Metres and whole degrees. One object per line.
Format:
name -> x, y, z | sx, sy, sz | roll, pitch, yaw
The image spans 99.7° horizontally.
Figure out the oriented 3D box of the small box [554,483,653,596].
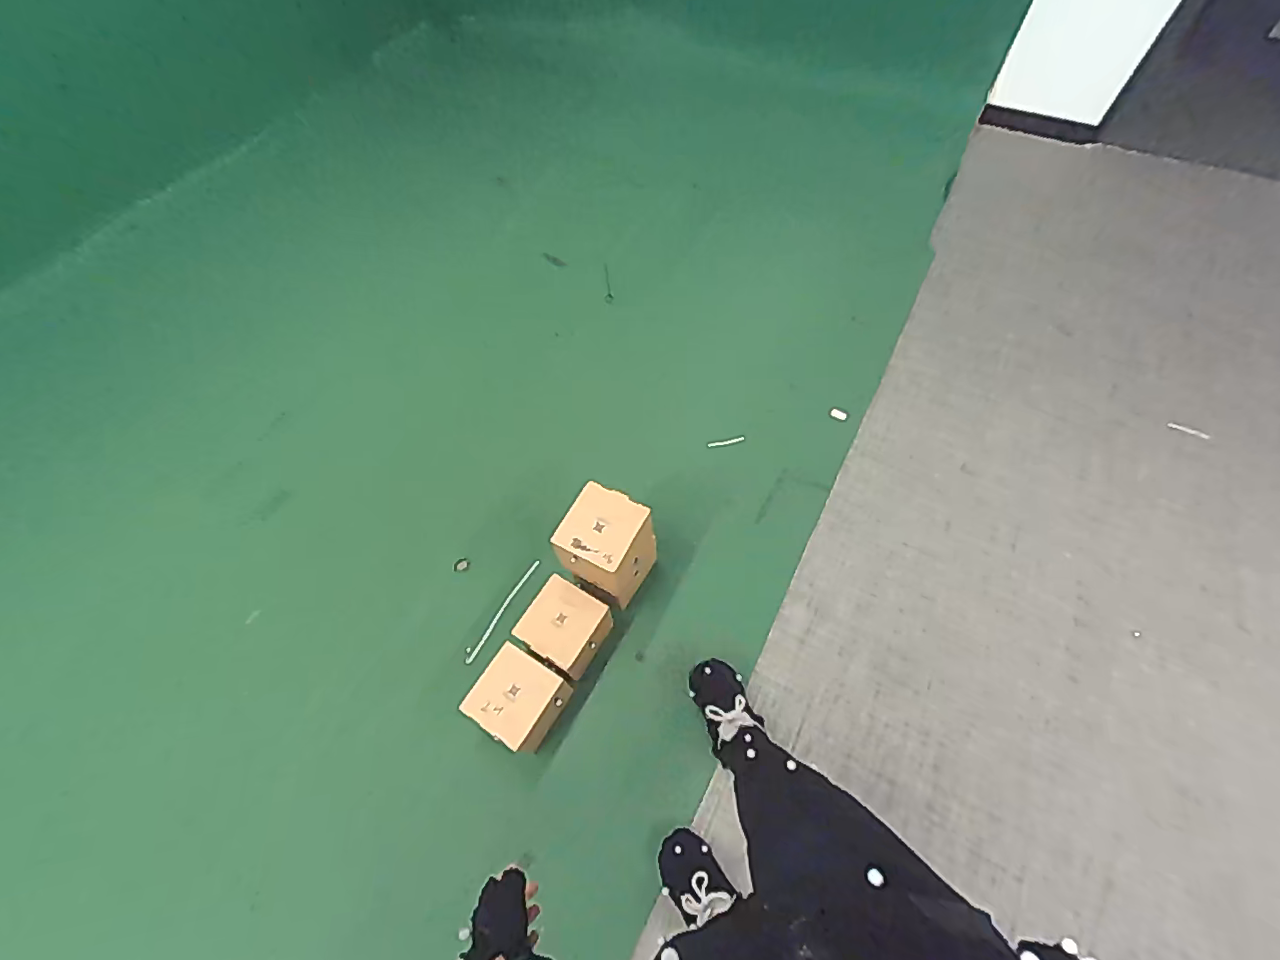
small box -> -0.081, 0.143, 1.280 | 0.168, 0.176, 0.179 | 25, 64, 15
